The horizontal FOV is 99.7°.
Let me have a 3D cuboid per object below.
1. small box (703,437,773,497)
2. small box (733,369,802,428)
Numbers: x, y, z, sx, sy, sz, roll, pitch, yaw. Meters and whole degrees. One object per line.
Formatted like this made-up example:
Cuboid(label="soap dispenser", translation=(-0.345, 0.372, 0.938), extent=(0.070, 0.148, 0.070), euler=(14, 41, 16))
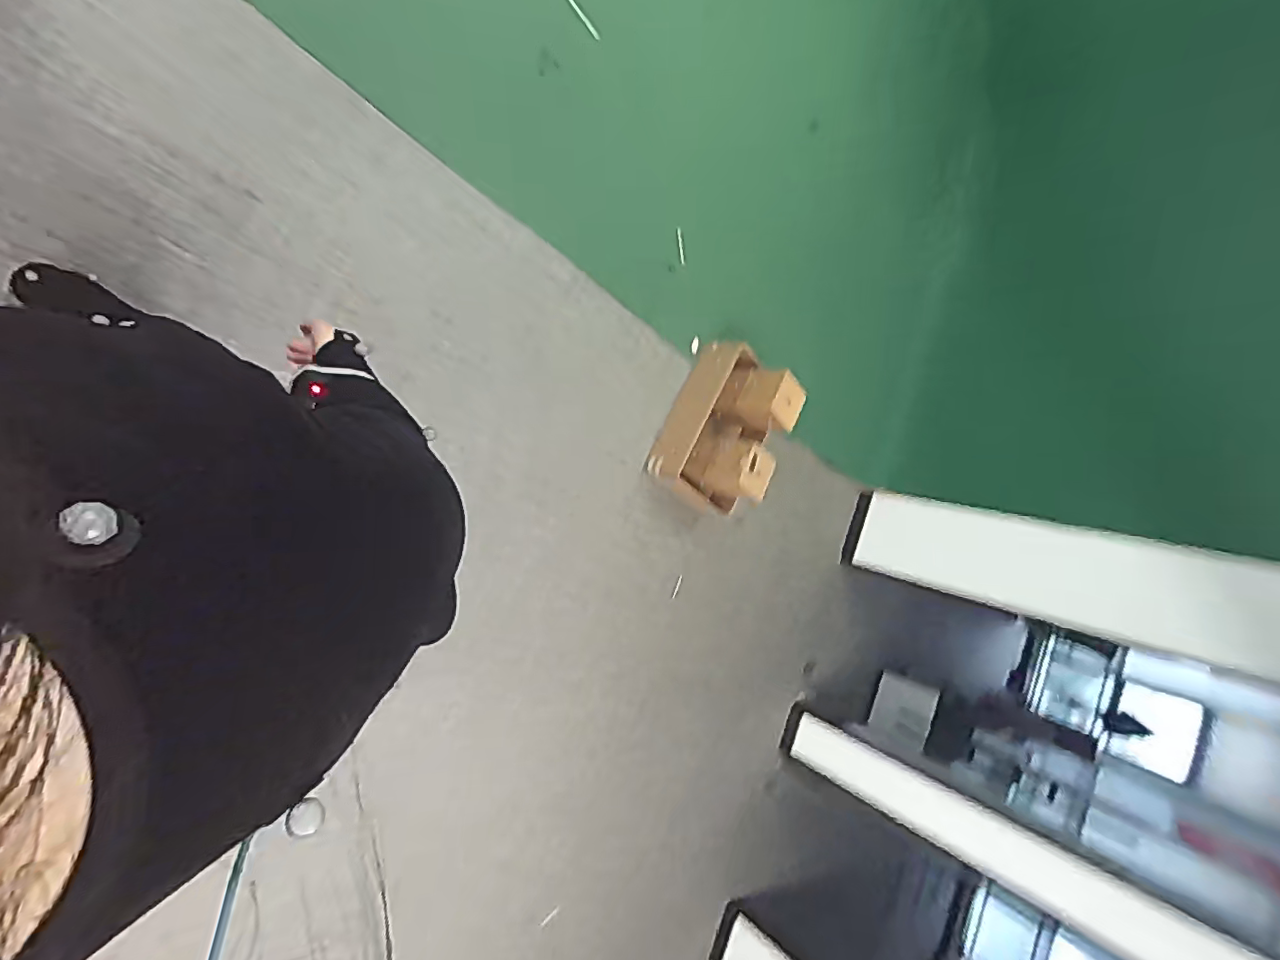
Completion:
Cuboid(label="small box", translation=(0.369, -0.054, 2.051), extent=(0.179, 0.176, 0.168), euler=(34, 76, -42))
Cuboid(label="small box", translation=(0.499, -0.325, 2.115), extent=(0.179, 0.176, 0.168), euler=(35, 76, -41))
